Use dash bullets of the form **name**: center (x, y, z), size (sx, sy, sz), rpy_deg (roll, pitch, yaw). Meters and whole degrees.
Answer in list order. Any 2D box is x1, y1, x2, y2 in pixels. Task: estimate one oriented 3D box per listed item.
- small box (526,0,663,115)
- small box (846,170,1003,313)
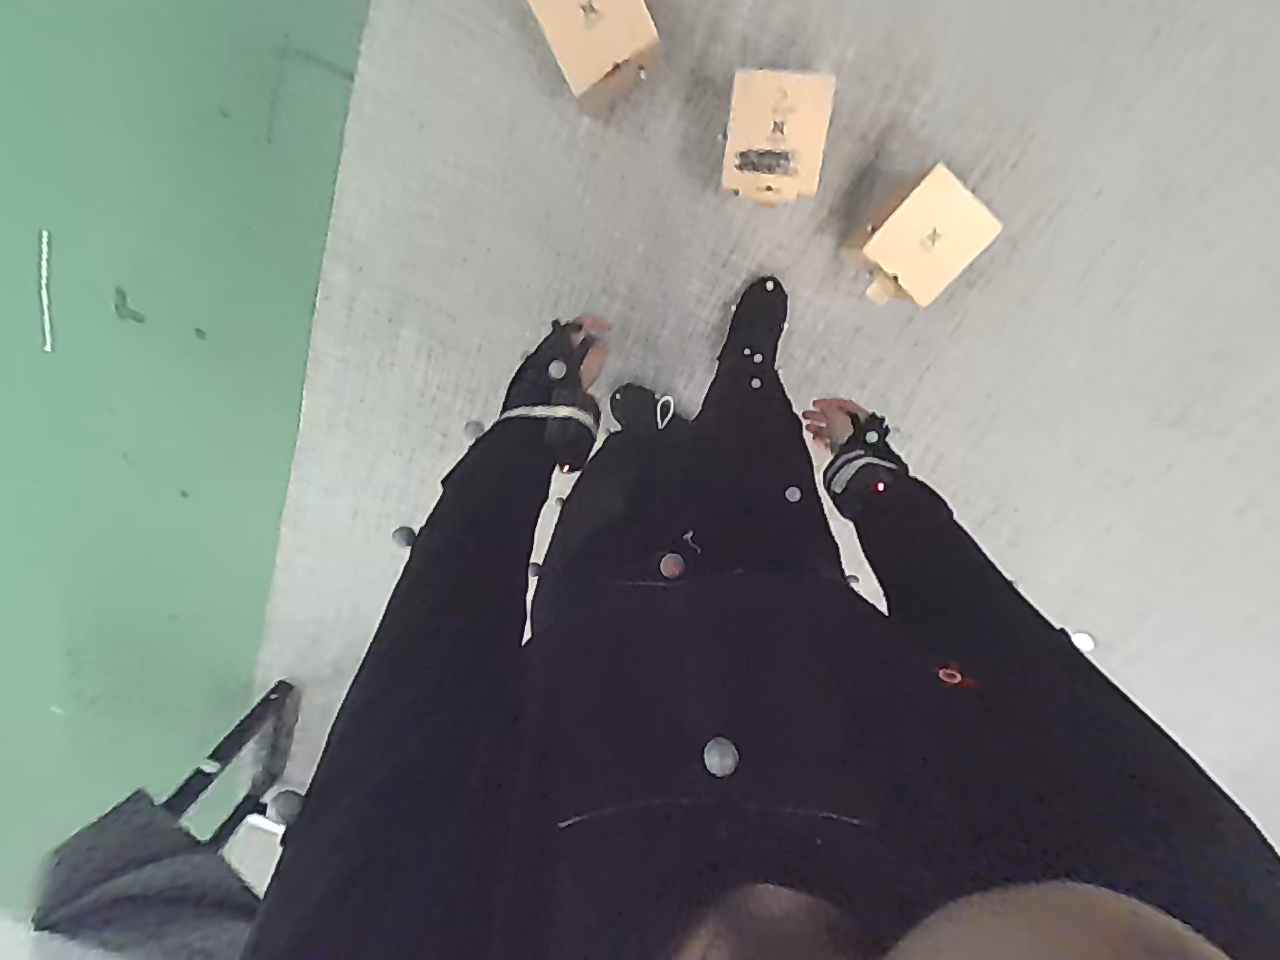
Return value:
- **small box**: center (-0.069, -0.776, 0.946), size (0.168, 0.176, 0.179), rpy_deg (-26, 107, 15)
- **small box**: center (0.522, -0.447, 1.024), size (0.168, 0.176, 0.179), rpy_deg (37, 113, -10)
